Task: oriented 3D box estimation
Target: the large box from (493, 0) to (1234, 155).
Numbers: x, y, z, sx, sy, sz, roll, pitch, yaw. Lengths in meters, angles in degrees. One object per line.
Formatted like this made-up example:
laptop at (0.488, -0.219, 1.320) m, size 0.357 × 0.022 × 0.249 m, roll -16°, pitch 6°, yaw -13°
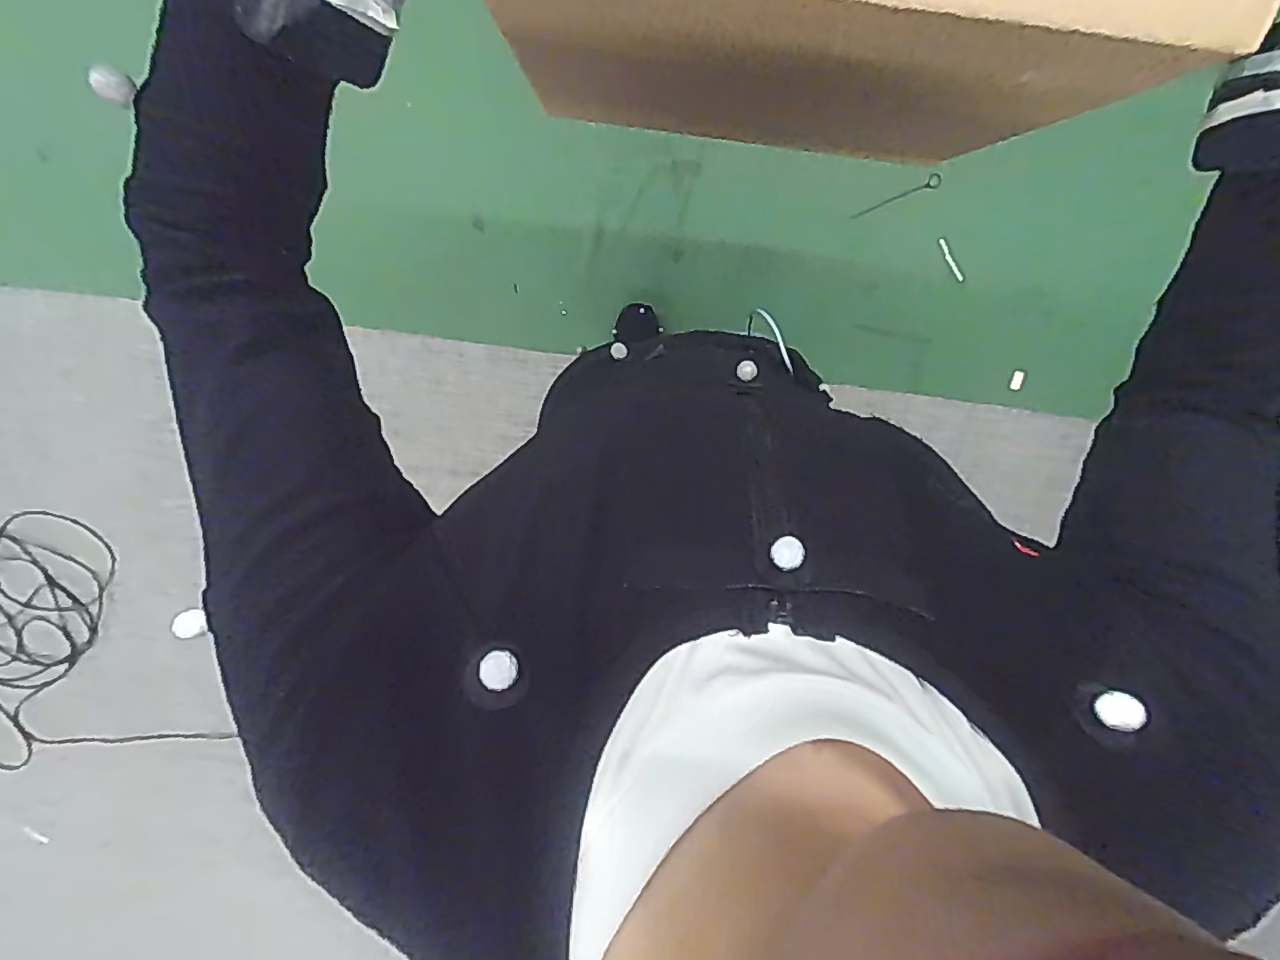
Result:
large box at (0.117, -0.439, 0.363) m, size 0.408 × 0.320 × 0.320 m, roll 5°, pitch 112°, yaw -3°
